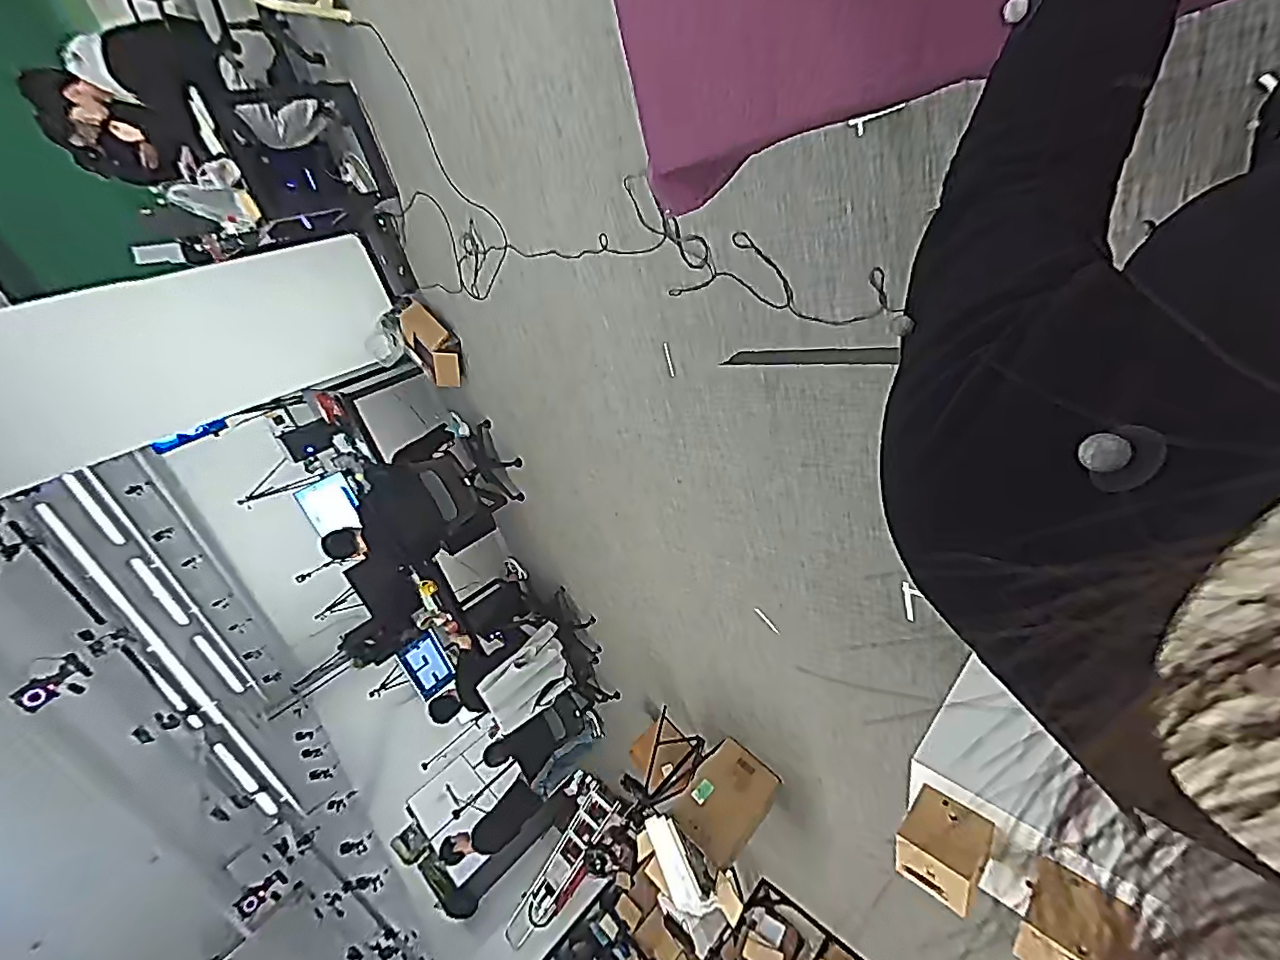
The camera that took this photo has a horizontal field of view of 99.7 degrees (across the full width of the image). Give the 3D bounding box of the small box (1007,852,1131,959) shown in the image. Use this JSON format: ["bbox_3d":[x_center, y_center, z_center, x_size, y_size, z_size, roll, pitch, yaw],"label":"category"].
[{"bbox_3d":[0.941,0.978,1.189,0.168,0.176,0.179,20,134,43],"label":"small box"}]
